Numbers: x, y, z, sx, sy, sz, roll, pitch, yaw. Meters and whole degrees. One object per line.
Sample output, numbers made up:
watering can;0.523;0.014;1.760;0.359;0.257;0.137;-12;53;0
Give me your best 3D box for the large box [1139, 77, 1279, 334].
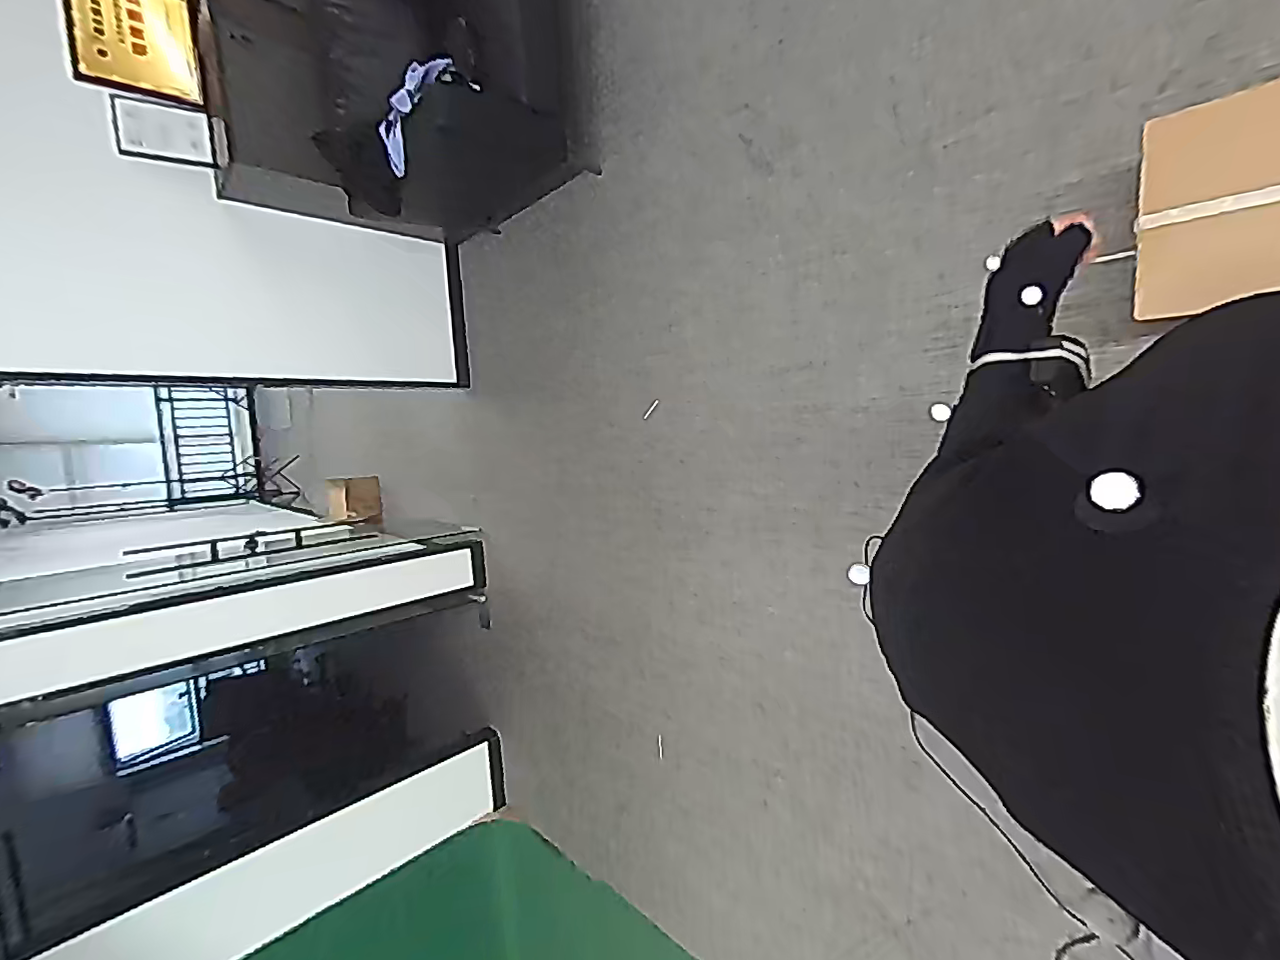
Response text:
large box;1.056;-0.427;0.836;0.408;0.320;0.320;4;98;46
